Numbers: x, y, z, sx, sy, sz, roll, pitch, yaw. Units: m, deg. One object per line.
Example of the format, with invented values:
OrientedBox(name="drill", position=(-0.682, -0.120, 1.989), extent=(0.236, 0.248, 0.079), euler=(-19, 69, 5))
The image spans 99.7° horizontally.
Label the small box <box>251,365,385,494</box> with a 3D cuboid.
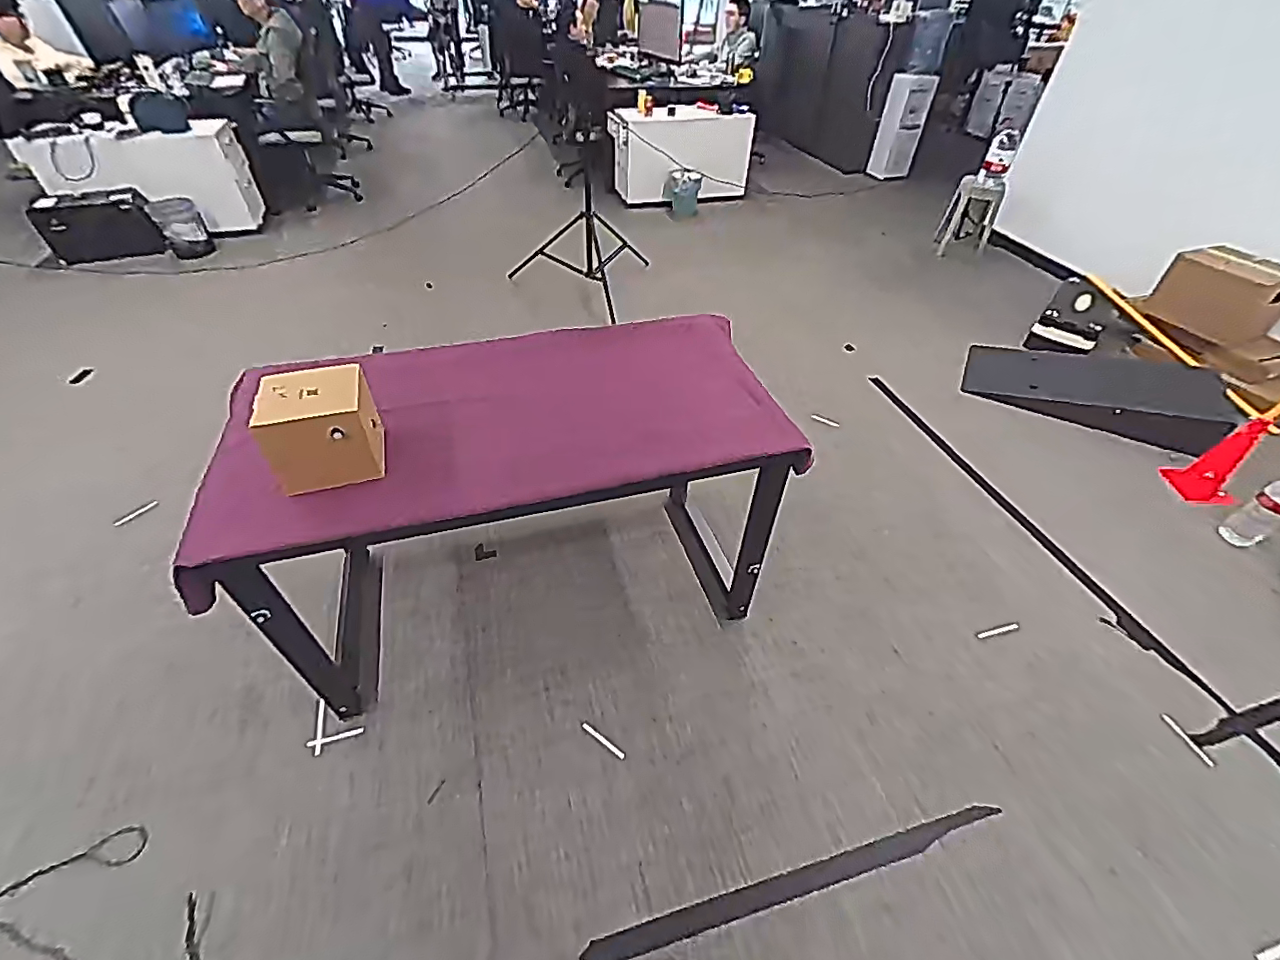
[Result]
OrientedBox(name="small box", position=(-0.606, -0.098, 1.047), extent=(0.179, 0.176, 0.168), euler=(-13, 45, -15))
